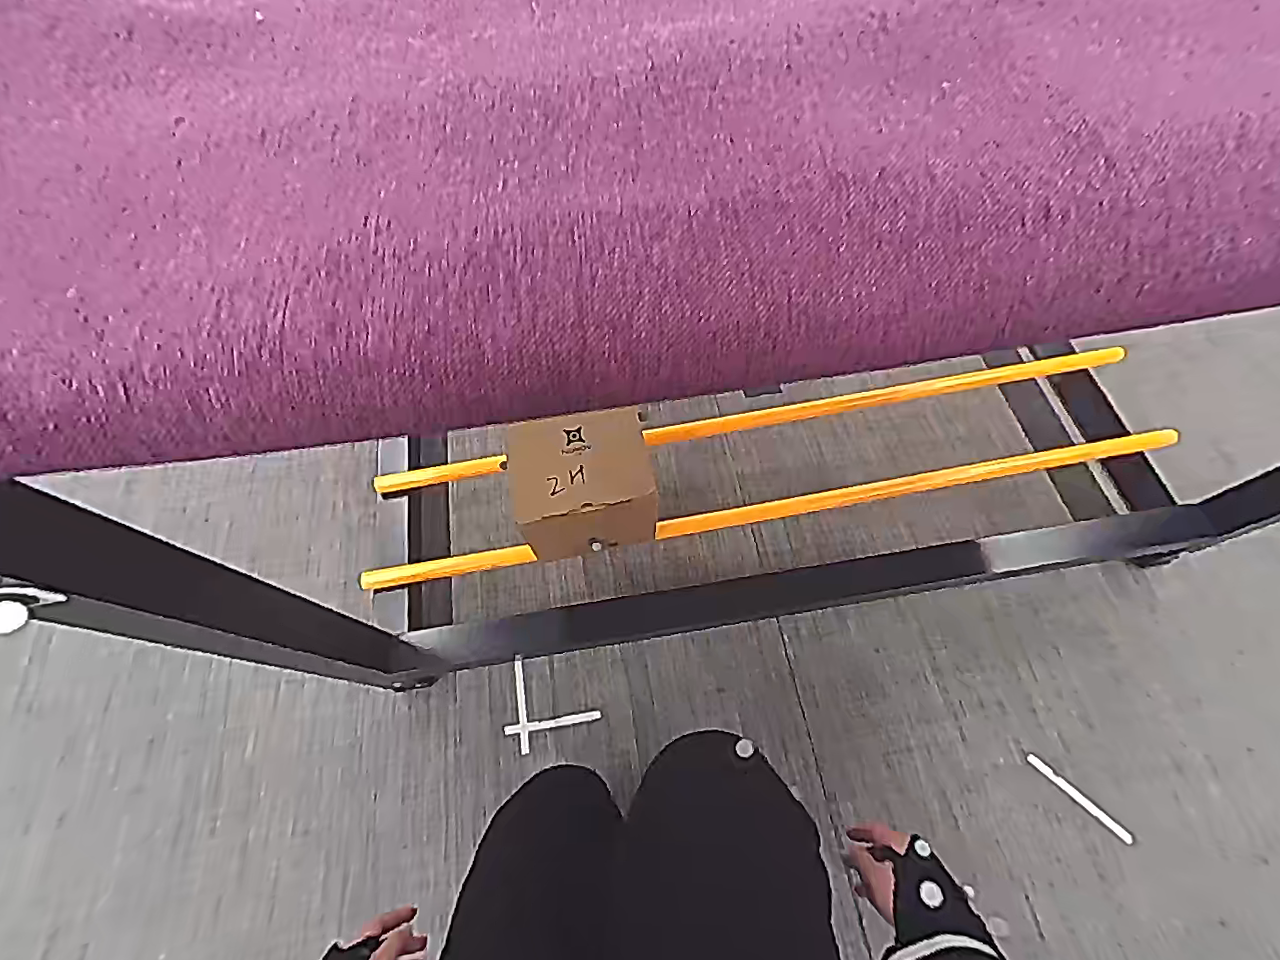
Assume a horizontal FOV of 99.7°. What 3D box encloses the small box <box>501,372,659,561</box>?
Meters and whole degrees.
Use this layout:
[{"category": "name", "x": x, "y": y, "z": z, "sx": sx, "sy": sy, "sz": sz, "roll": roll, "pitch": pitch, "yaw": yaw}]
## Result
[{"category": "small box", "x": -0.076, "y": -0.011, "z": 0.709, "sx": 0.168, "sy": 0.176, "sz": 0.179, "roll": -12, "pitch": 66, "yaw": -5}]
